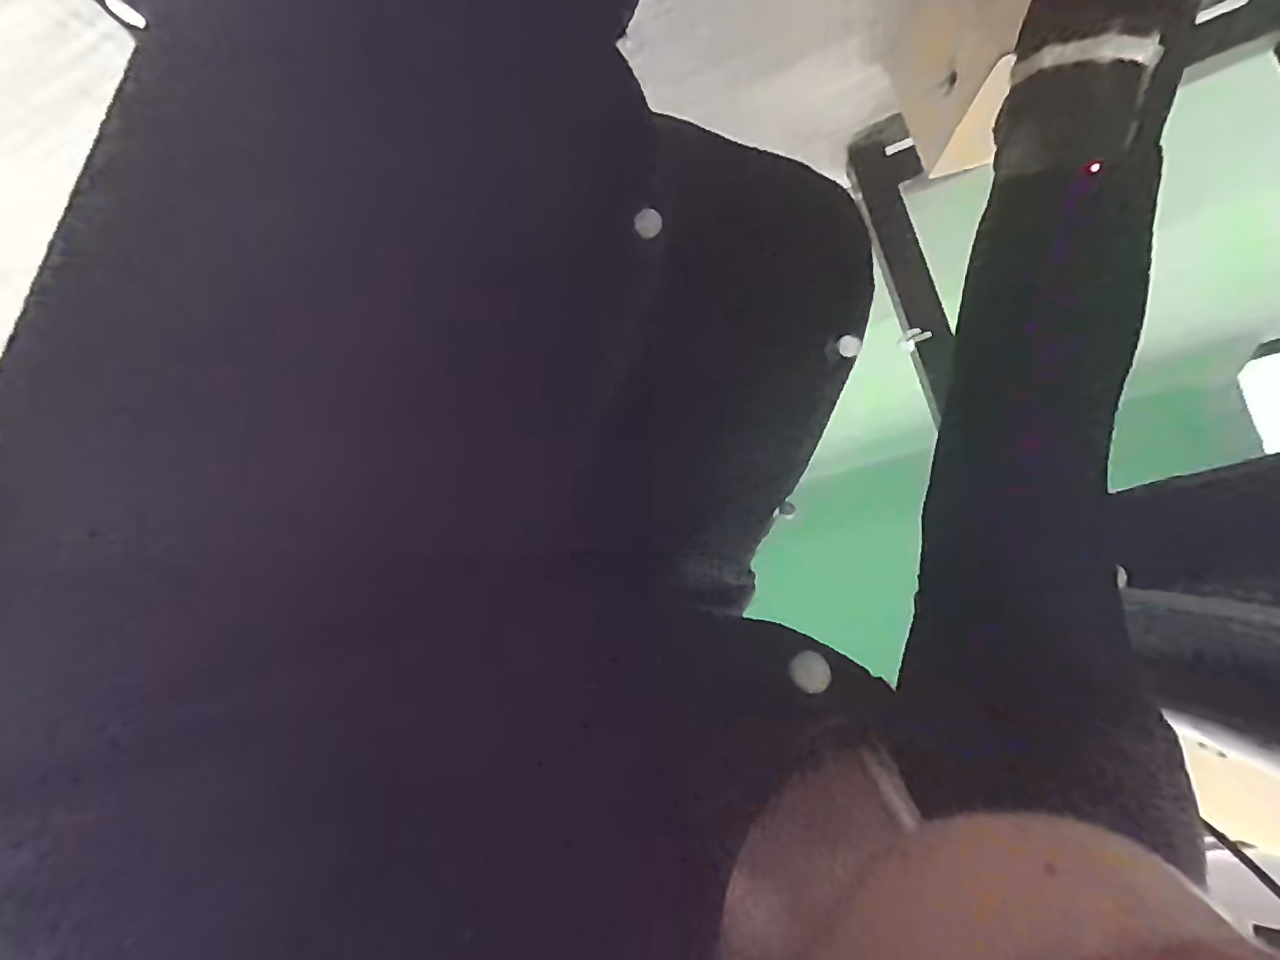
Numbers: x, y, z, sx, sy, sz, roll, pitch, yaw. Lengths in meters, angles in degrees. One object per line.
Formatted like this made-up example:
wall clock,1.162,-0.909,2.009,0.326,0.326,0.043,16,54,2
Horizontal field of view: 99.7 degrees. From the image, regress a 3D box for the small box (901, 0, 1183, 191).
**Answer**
small box,0.420,-0.472,0.604,0.168,0.176,0.179,-13,170,4
